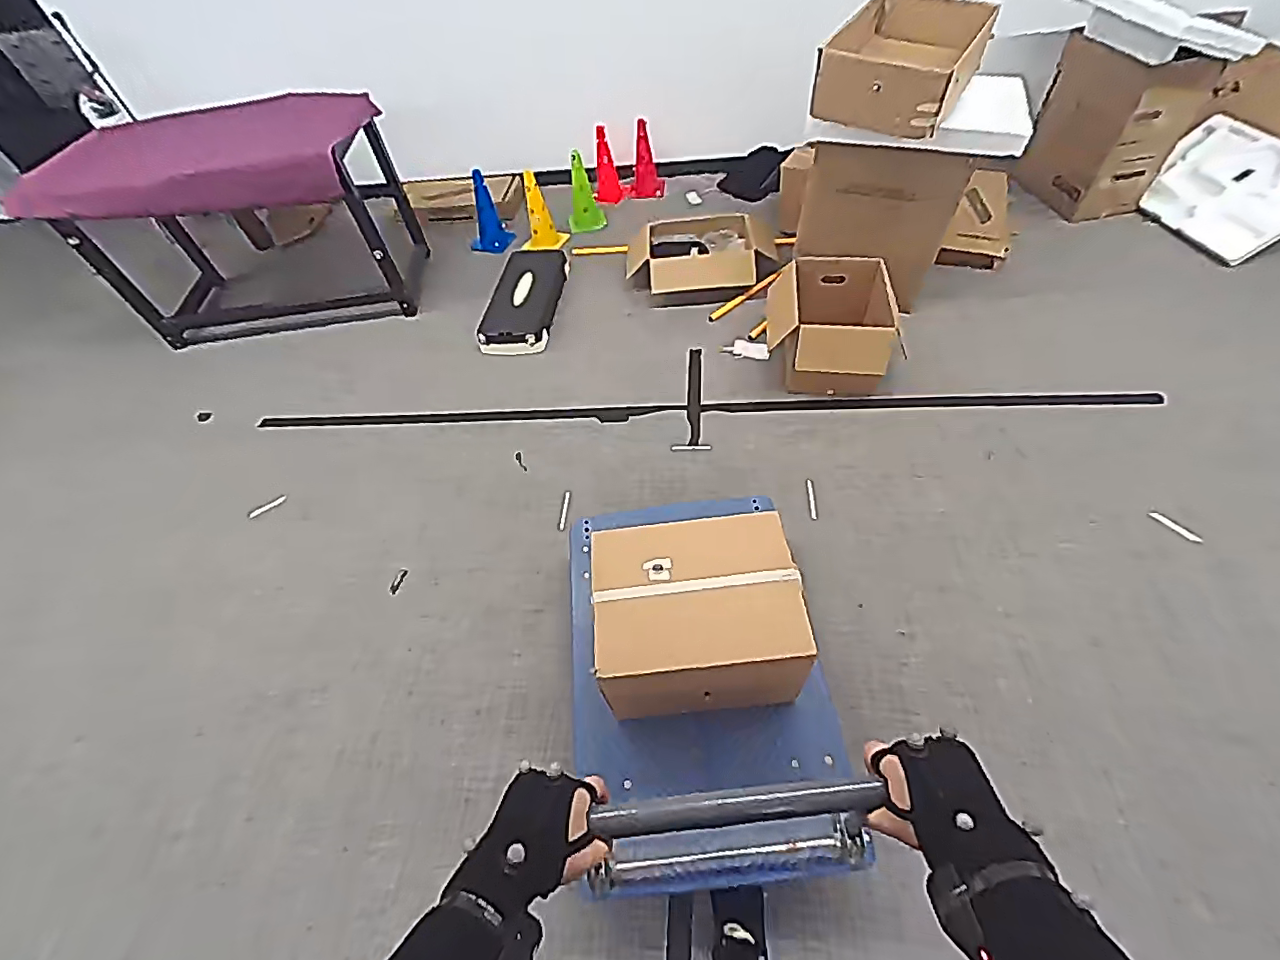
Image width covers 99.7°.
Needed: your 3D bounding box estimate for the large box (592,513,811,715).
[{"bbox_3d":[0.124,0.308,1.205,0.408,0.320,0.320,-8,52,2],"label":"large box"}]
